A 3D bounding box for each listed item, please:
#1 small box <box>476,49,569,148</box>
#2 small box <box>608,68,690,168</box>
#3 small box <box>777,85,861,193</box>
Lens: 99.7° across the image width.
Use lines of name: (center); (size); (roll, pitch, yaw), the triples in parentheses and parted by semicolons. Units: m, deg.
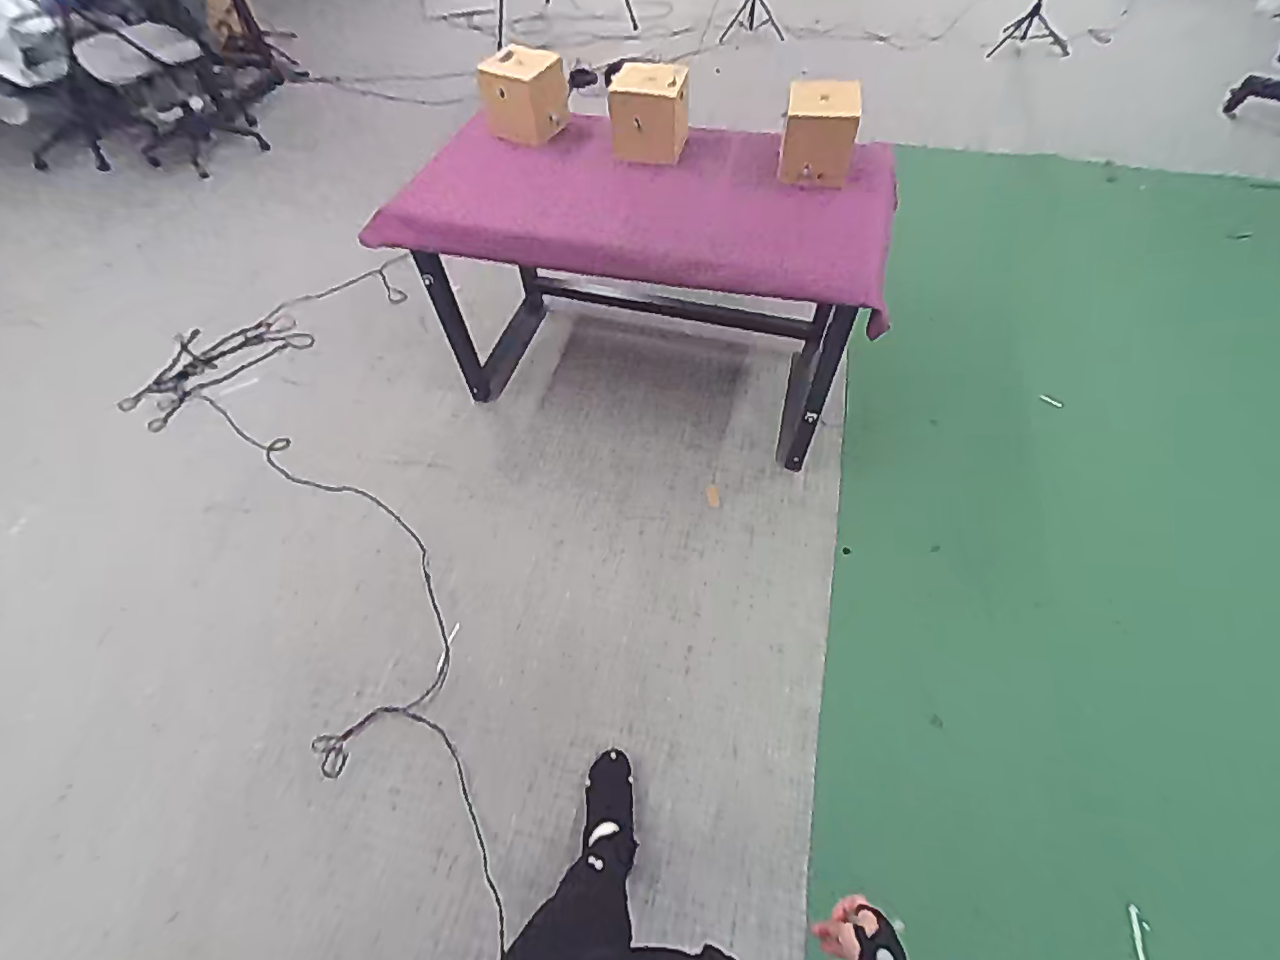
small box: (-0.318, -1.058, 1.505); (0.179, 0.176, 0.168); (24, 62, 15)
small box: (0.028, -0.953, 1.426); (0.179, 0.176, 0.168); (12, 59, 10)
small box: (0.439, -0.846, 1.341); (0.168, 0.176, 0.179); (8, 59, 9)
